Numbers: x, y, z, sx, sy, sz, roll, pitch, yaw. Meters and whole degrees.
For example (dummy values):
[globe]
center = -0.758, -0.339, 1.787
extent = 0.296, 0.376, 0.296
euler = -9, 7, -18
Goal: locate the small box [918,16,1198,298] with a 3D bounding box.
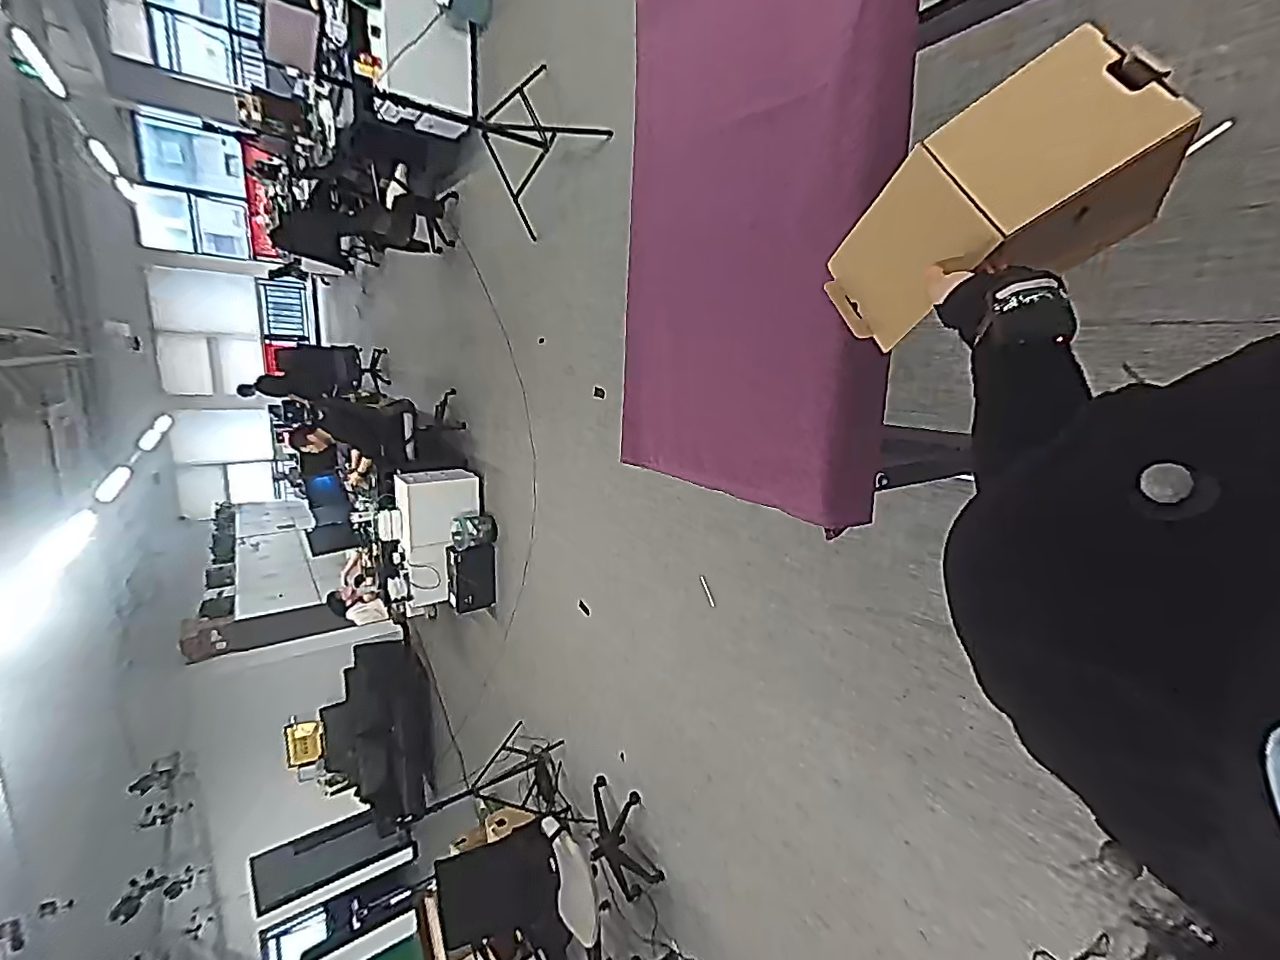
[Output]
[small box]
center = 0.449, -0.342, 0.611
extent = 0.179, 0.176, 0.168
euler = -32, 65, 23
